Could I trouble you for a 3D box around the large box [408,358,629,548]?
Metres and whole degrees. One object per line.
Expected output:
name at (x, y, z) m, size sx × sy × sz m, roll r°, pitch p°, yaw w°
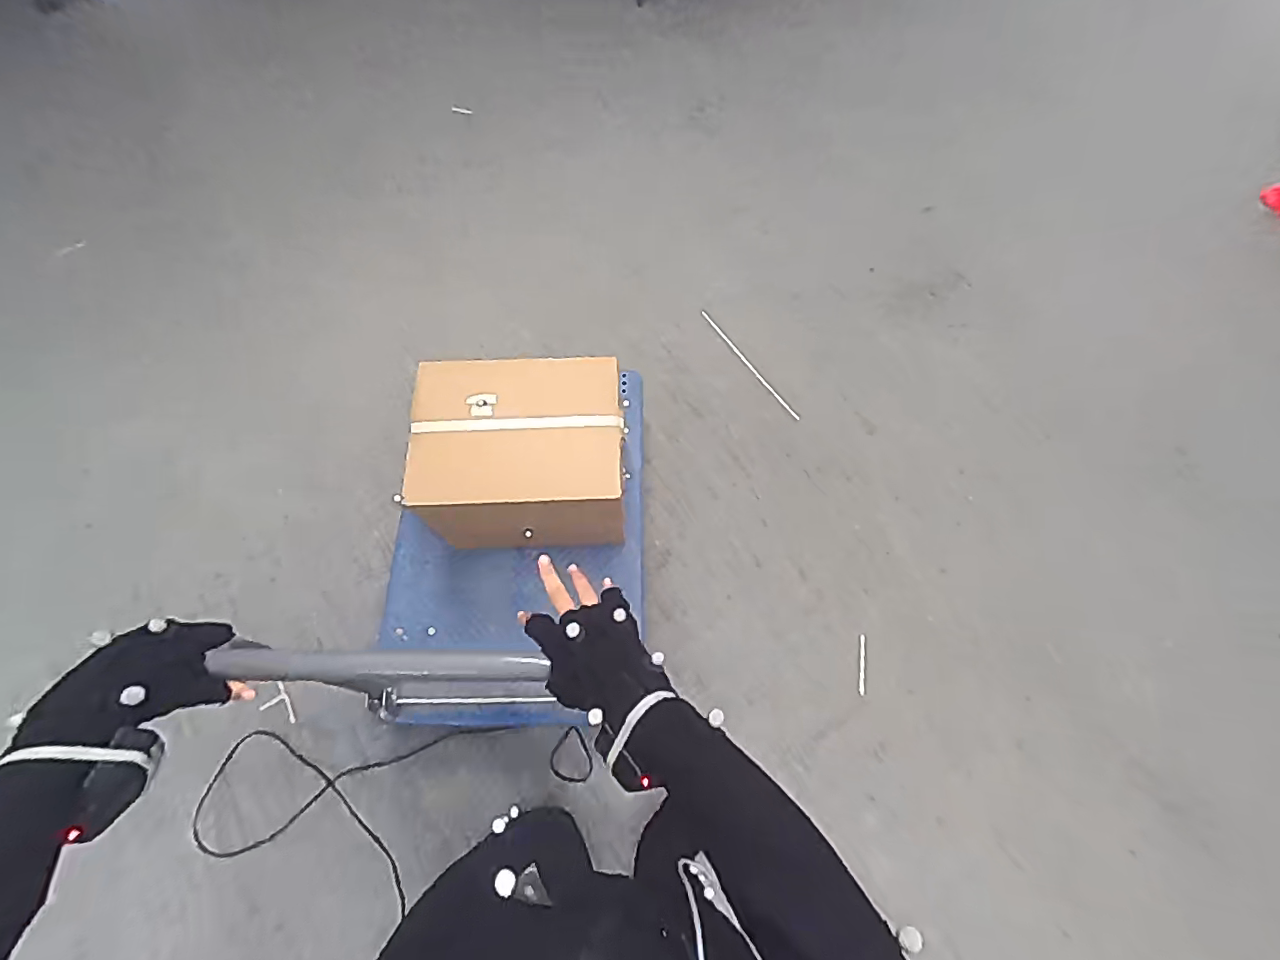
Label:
large box at (-0.235, -0.042, 1.189) m, size 0.408 × 0.320 × 0.320 m, roll -3°, pitch 67°, yaw 0°
